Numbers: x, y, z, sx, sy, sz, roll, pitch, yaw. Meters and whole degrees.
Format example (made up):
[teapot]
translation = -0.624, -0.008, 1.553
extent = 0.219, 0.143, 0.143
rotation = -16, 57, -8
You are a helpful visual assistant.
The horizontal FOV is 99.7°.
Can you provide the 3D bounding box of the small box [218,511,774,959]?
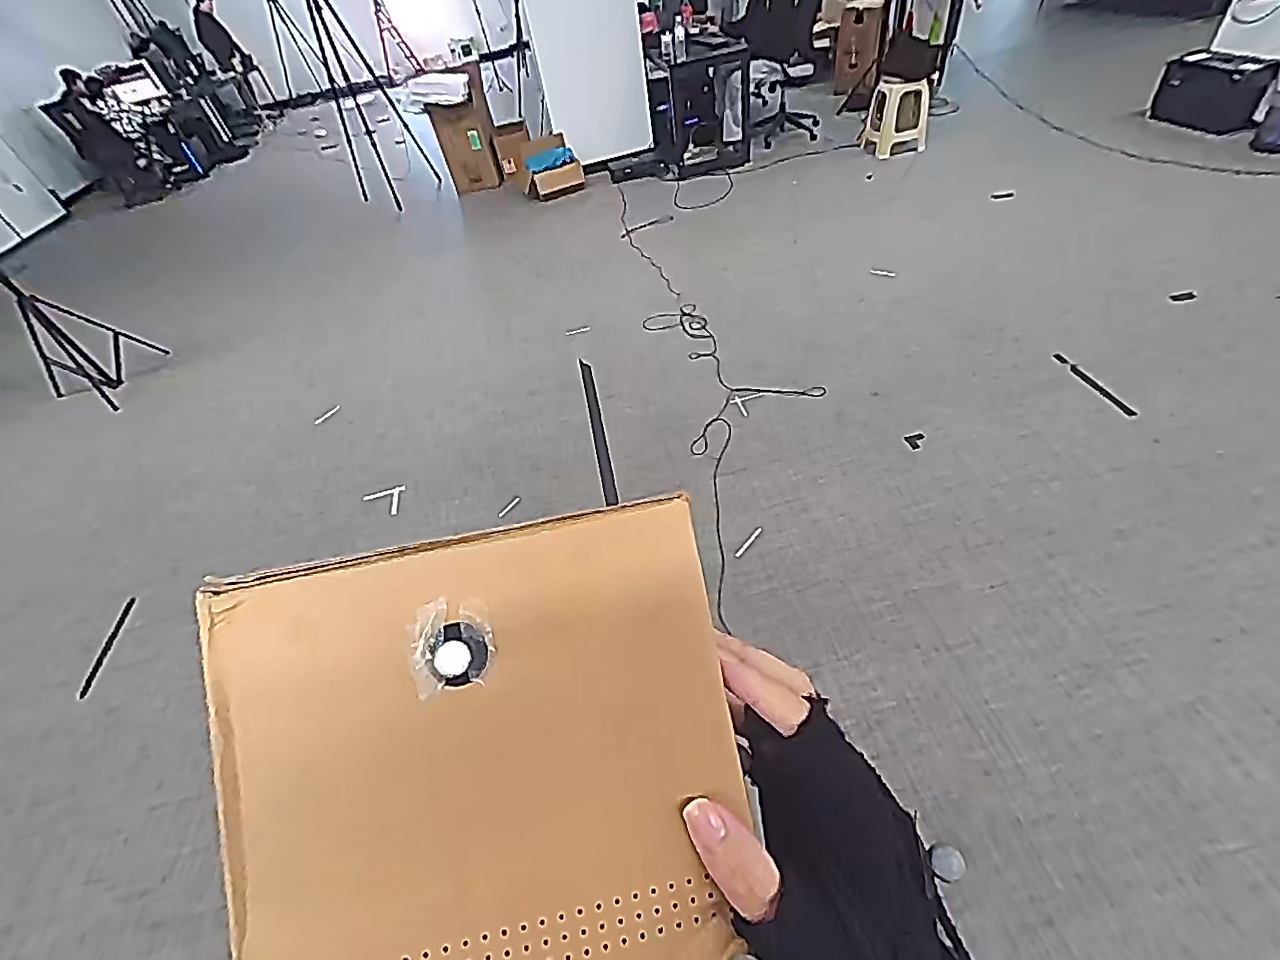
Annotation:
[small box]
translation = -0.056, 0.118, 0.266
extent = 0.179, 0.168, 0.176
rotation = -10, 84, -6
